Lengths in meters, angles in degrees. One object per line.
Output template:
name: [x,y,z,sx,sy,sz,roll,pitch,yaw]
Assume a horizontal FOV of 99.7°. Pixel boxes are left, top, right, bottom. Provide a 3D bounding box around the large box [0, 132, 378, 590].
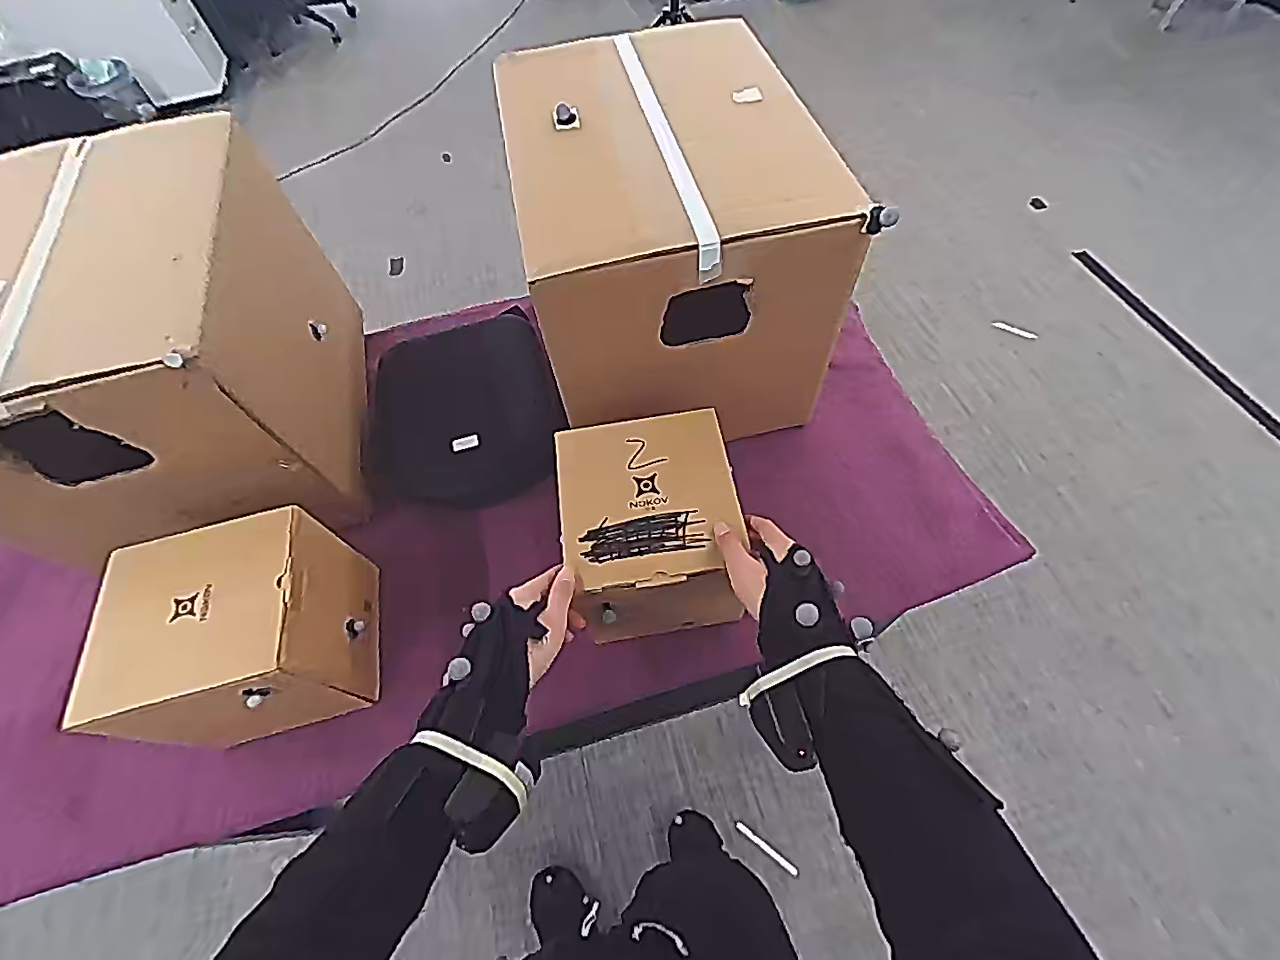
large box: [-0.554,-0.135,0.660,0.320,0.320,0.408,-17,62,-5]
